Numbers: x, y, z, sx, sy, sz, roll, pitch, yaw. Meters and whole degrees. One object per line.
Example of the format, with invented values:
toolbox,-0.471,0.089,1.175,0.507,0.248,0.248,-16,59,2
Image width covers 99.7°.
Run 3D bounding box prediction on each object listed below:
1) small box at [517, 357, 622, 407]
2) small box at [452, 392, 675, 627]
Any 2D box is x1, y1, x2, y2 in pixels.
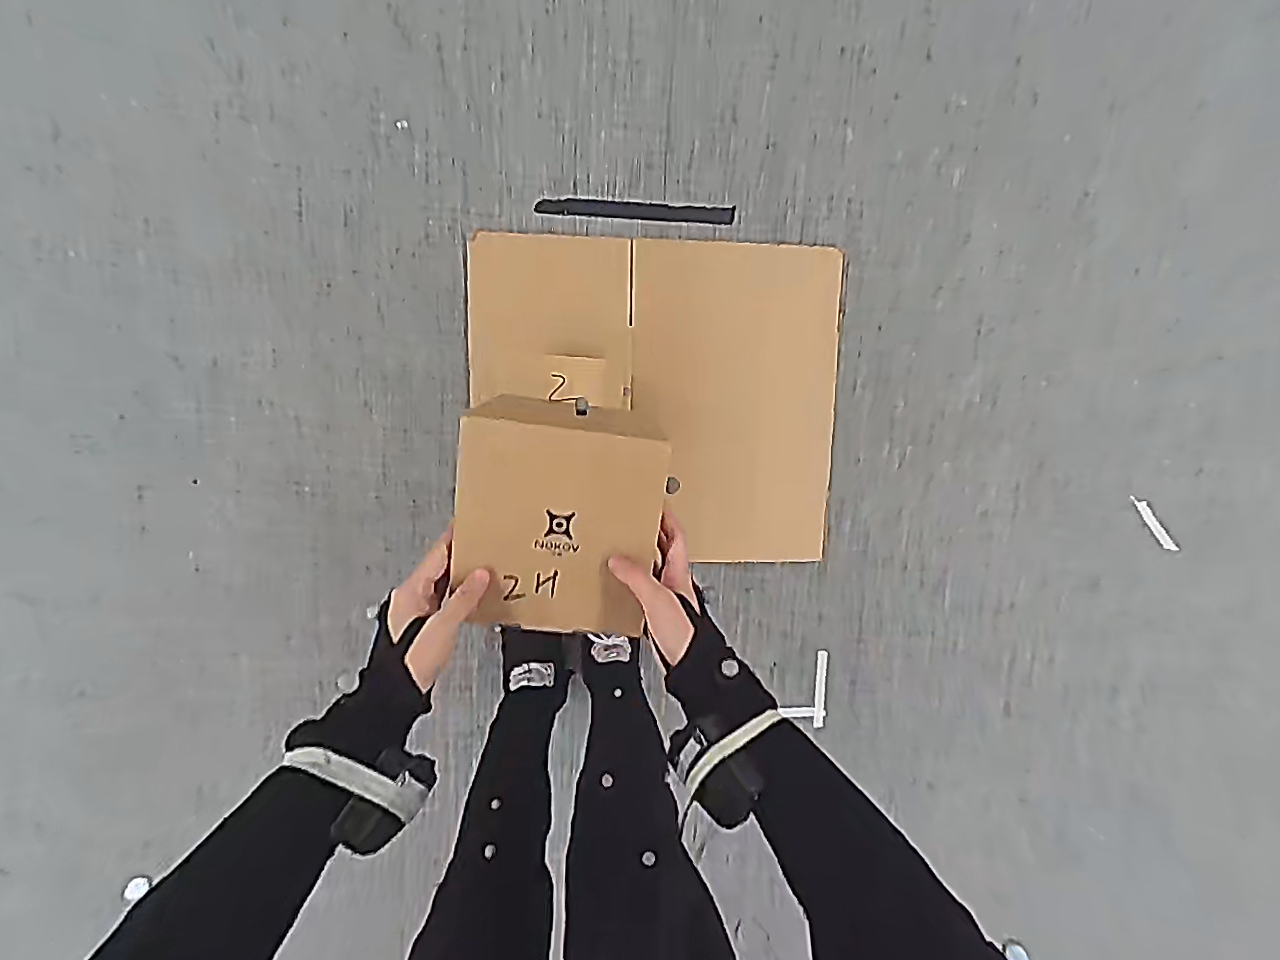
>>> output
small box,-0.123,-0.112,0.943,0.168,0.176,0.179,4,97,-6
small box,-0.071,0.015,0.517,0.168,0.176,0.179,7,104,-6
